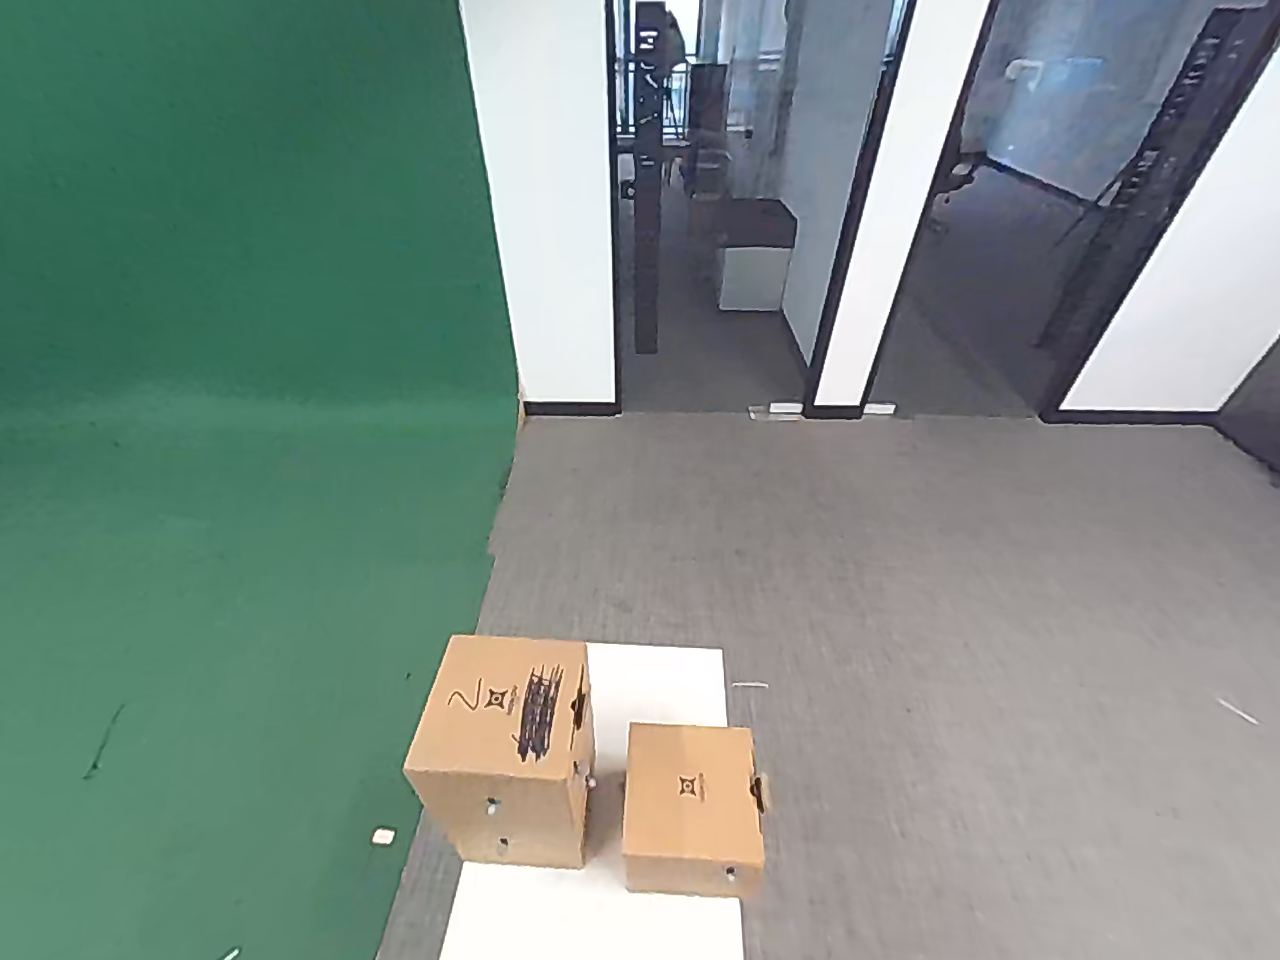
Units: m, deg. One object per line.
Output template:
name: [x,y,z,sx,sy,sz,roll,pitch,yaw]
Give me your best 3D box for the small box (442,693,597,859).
small box: [-0.160,0.432,0.788,0.179,0.176,0.168,3,42,1]
